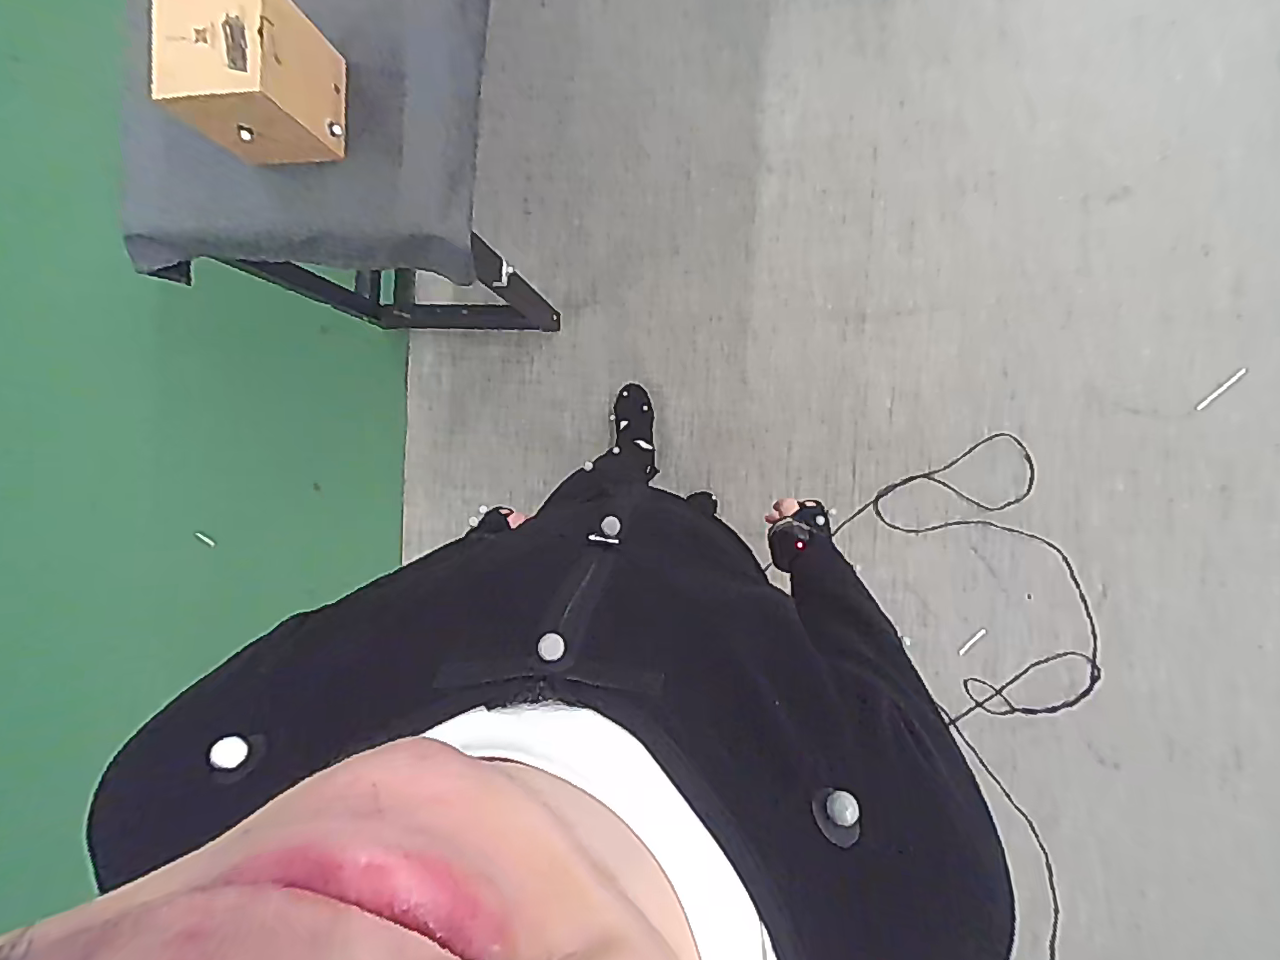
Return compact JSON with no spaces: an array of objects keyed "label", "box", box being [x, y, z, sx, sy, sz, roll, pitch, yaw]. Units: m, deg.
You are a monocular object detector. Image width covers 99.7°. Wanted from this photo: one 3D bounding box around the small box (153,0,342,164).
[{"label":"small box","box":[-0.584,-0.609,0.823,0.179,0.176,0.168,2,91,8]}]
